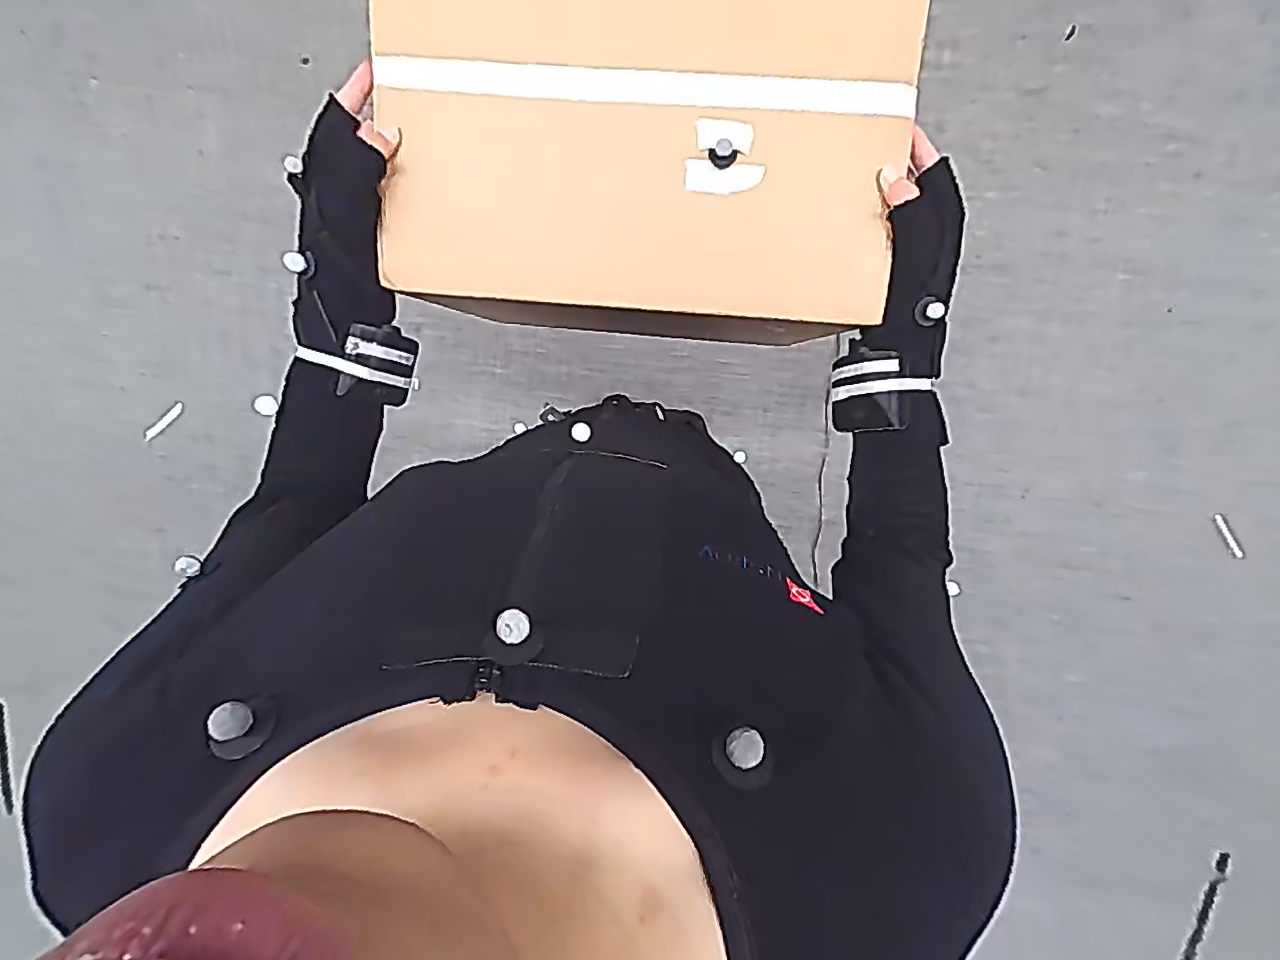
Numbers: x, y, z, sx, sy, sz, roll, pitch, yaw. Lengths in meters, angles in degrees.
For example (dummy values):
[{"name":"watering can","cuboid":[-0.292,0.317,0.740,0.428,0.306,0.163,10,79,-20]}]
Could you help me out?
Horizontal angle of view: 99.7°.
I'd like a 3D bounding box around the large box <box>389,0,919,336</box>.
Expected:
[{"name":"large box","cuboid":[0.008,-0.329,0.560,0.408,0.320,0.320,4,101,2]}]
